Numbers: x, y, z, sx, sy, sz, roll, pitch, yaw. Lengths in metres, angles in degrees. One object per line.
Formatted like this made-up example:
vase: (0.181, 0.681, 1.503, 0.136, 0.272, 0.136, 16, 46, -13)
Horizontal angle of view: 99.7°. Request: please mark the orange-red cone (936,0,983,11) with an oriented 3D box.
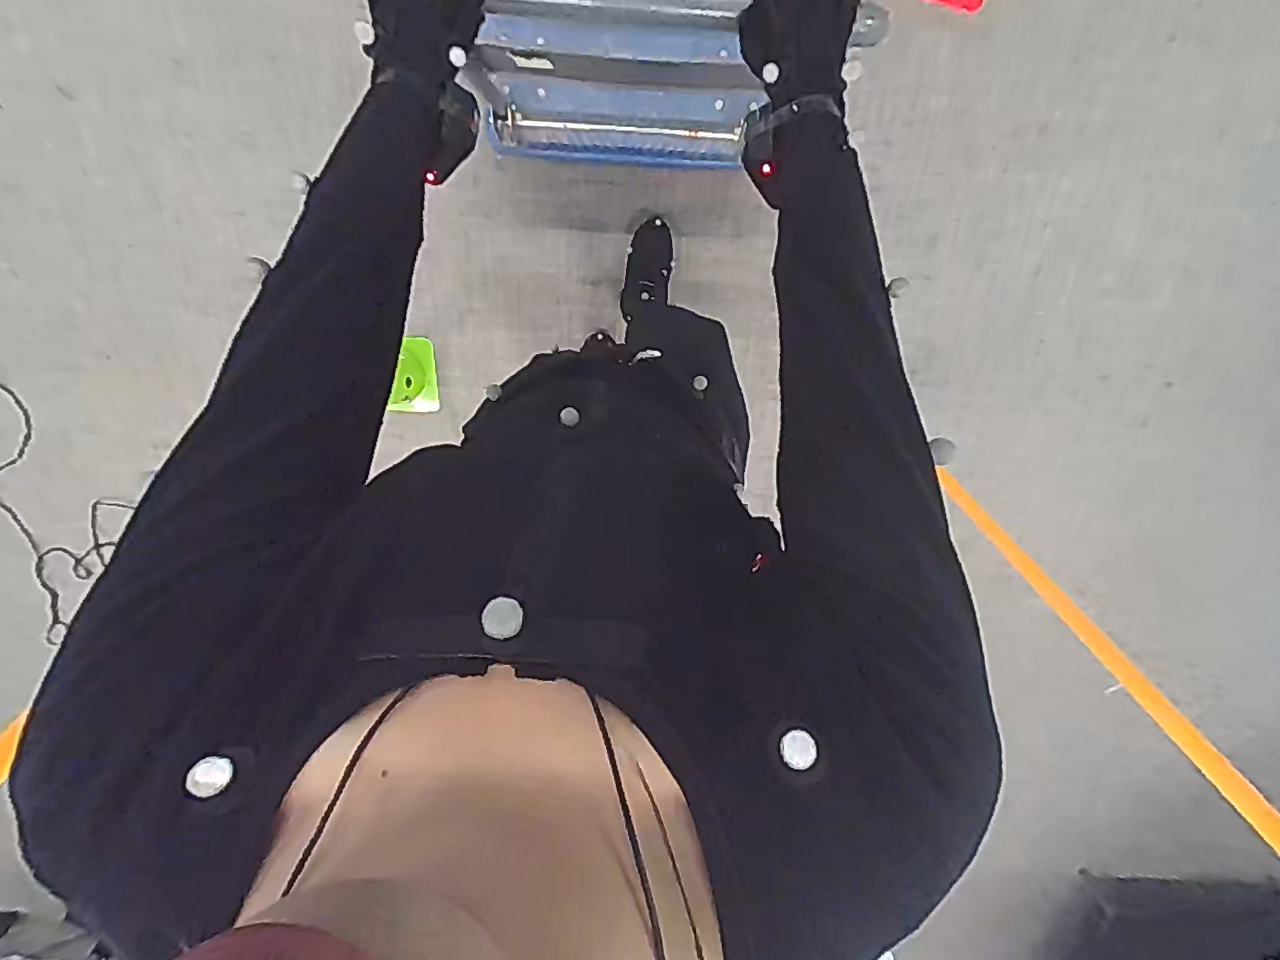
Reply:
orange-red cone: (0.649, -1.035, 0.948, 0.198, 0.360, 0.199, 13, 113, -5)
